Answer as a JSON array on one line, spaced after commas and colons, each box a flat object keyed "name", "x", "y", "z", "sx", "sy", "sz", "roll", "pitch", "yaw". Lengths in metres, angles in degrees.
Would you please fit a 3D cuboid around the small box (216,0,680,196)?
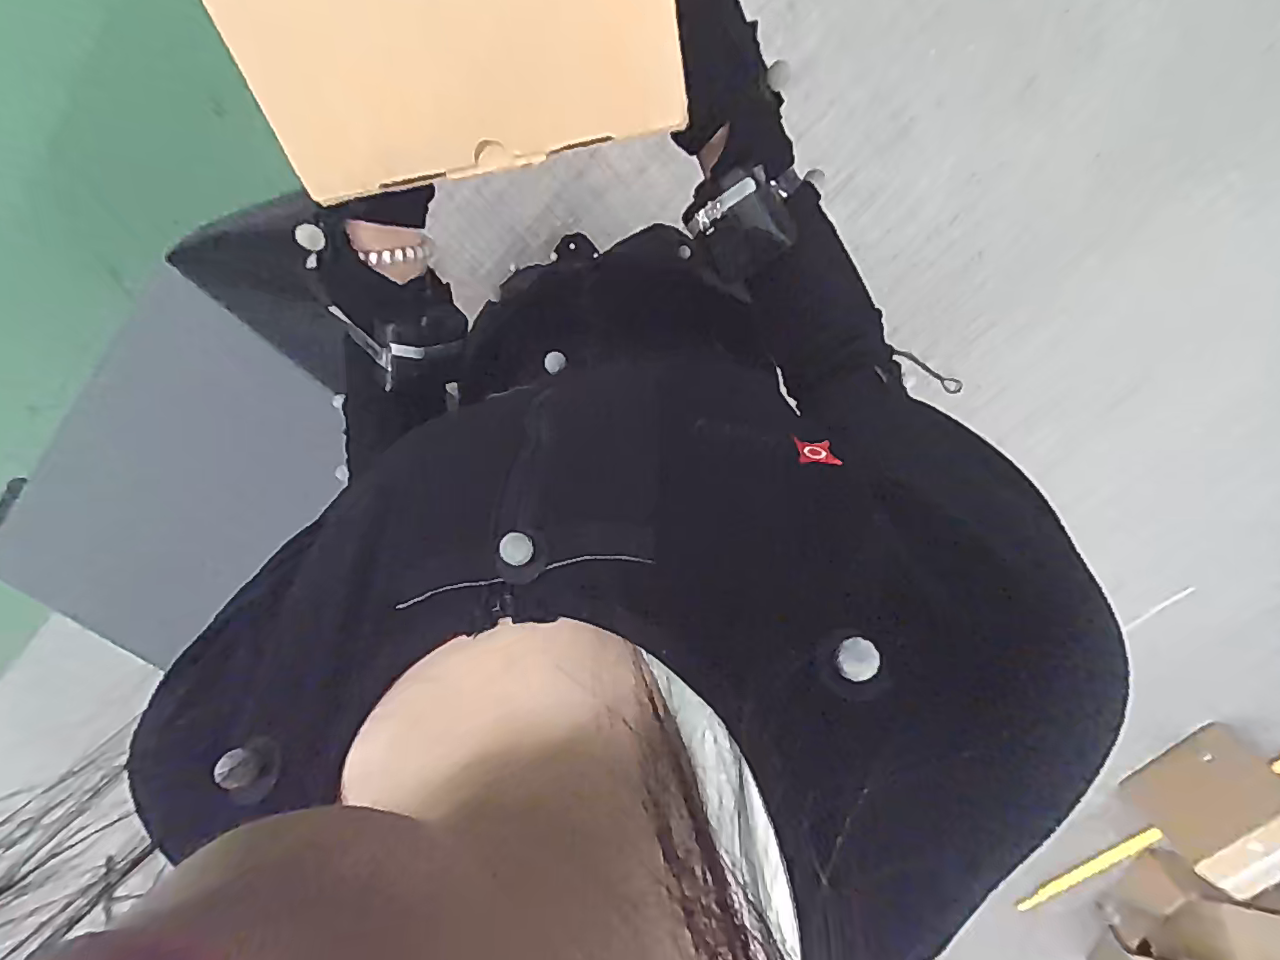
[{"name": "small box", "x": -0.080, "y": -0.255, "z": 0.238, "sx": 0.168, "sy": 0.176, "sz": 0.179, "roll": -9, "pitch": 133, "yaw": 6}]
